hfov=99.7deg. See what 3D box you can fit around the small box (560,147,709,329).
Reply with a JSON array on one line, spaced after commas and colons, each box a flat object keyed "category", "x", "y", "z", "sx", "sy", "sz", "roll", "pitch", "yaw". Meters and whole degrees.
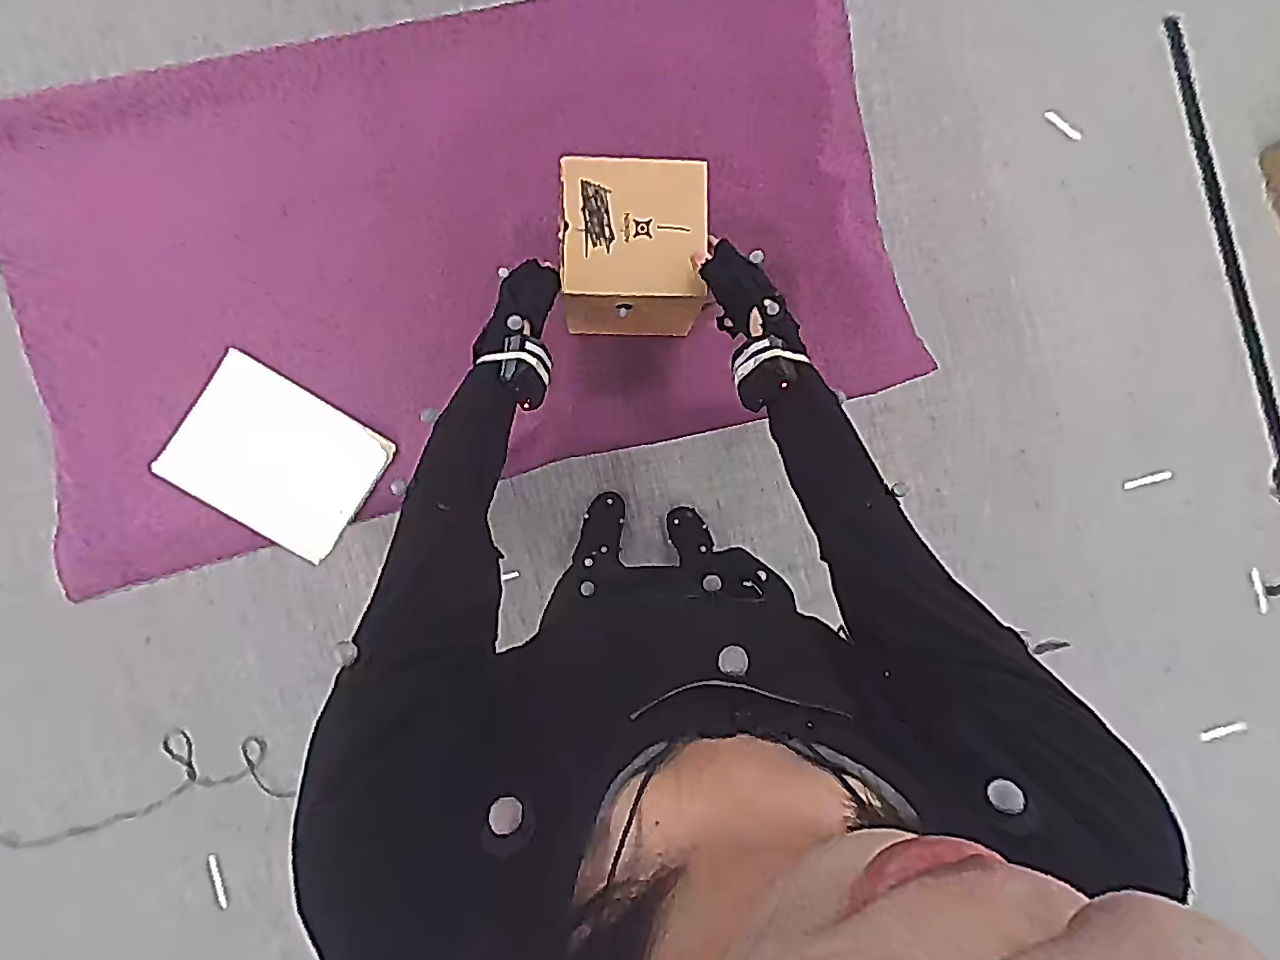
[{"category": "small box", "x": -0.010, "y": -0.303, "z": 0.711, "sx": 0.179, "sy": 0.176, "sz": 0.168, "roll": 0, "pitch": 89, "yaw": -4}]
